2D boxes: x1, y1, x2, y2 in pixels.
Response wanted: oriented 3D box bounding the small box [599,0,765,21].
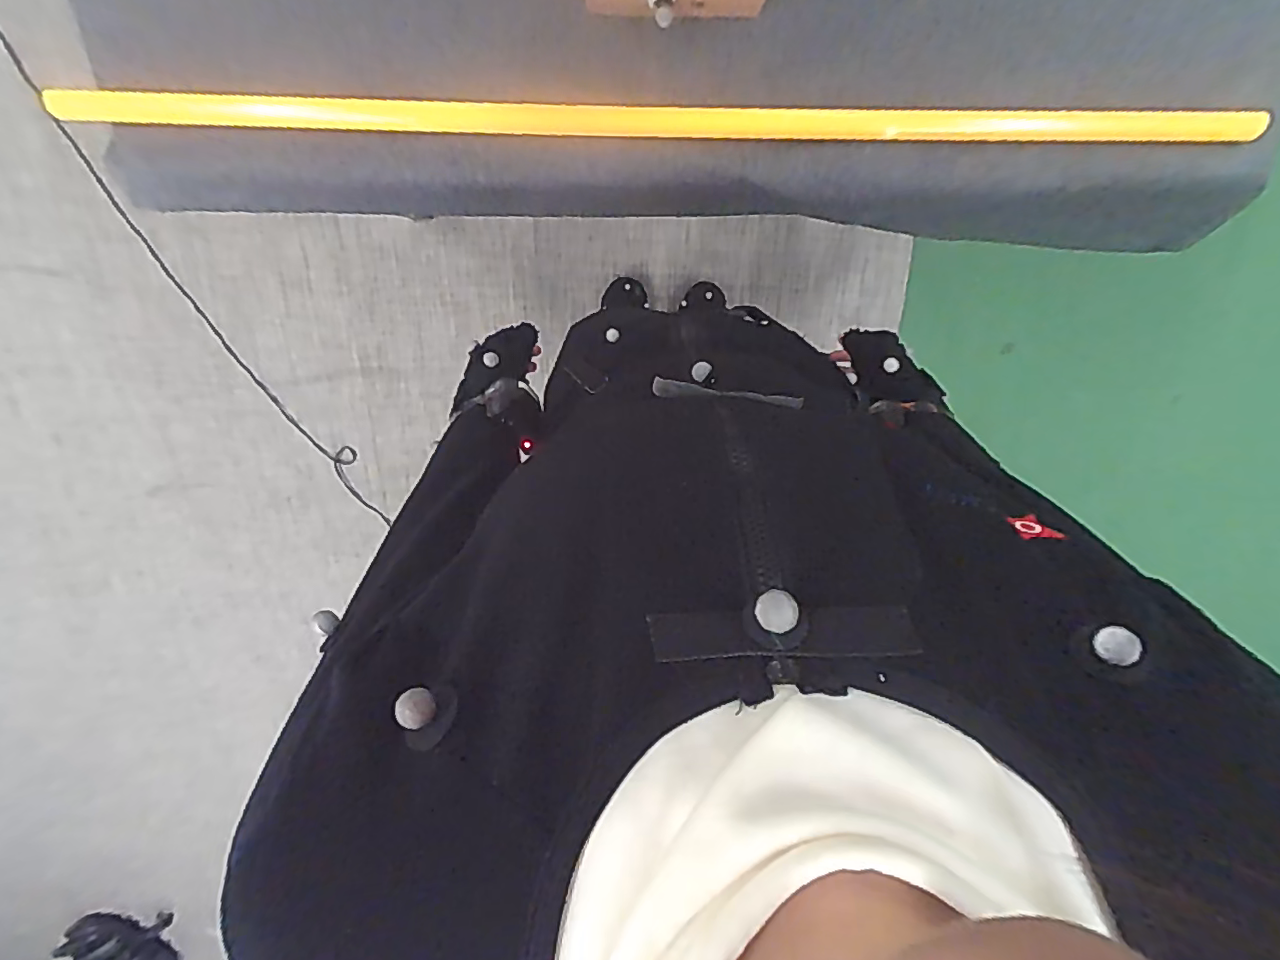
[{"bbox_3d":[0.037,-0.504,0.424,0.168,0.176,0.179,-1,112,1],"label":"small box"}]
